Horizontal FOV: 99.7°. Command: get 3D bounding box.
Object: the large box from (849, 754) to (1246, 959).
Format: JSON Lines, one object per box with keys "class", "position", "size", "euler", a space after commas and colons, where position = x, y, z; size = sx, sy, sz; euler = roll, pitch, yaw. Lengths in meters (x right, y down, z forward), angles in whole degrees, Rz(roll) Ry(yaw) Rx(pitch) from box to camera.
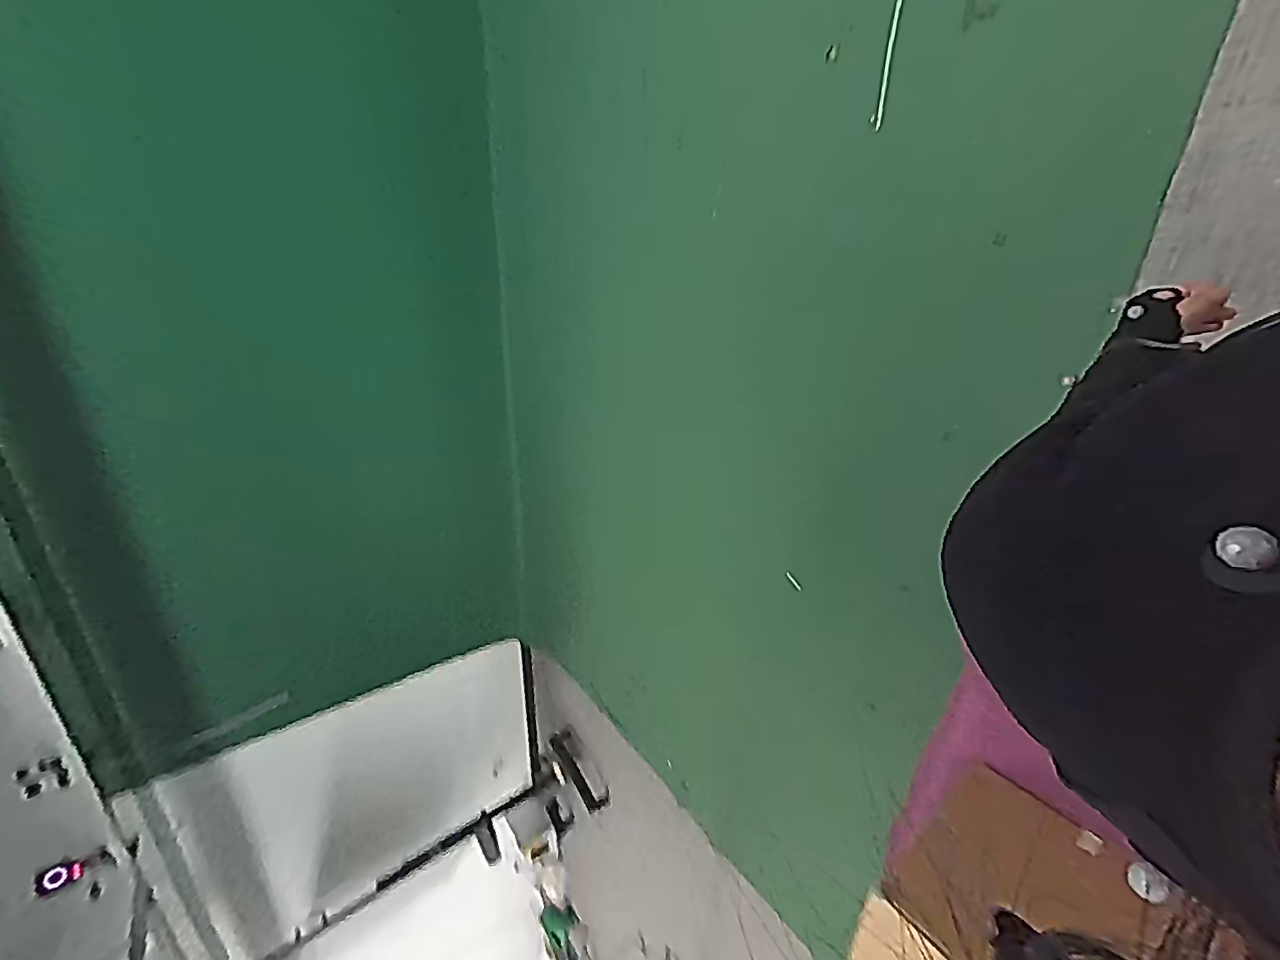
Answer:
{"class": "large box", "position": [0.503, 0.687, 0.731], "size": [0.320, 0.320, 0.408], "euler": [26, 122, 45]}
